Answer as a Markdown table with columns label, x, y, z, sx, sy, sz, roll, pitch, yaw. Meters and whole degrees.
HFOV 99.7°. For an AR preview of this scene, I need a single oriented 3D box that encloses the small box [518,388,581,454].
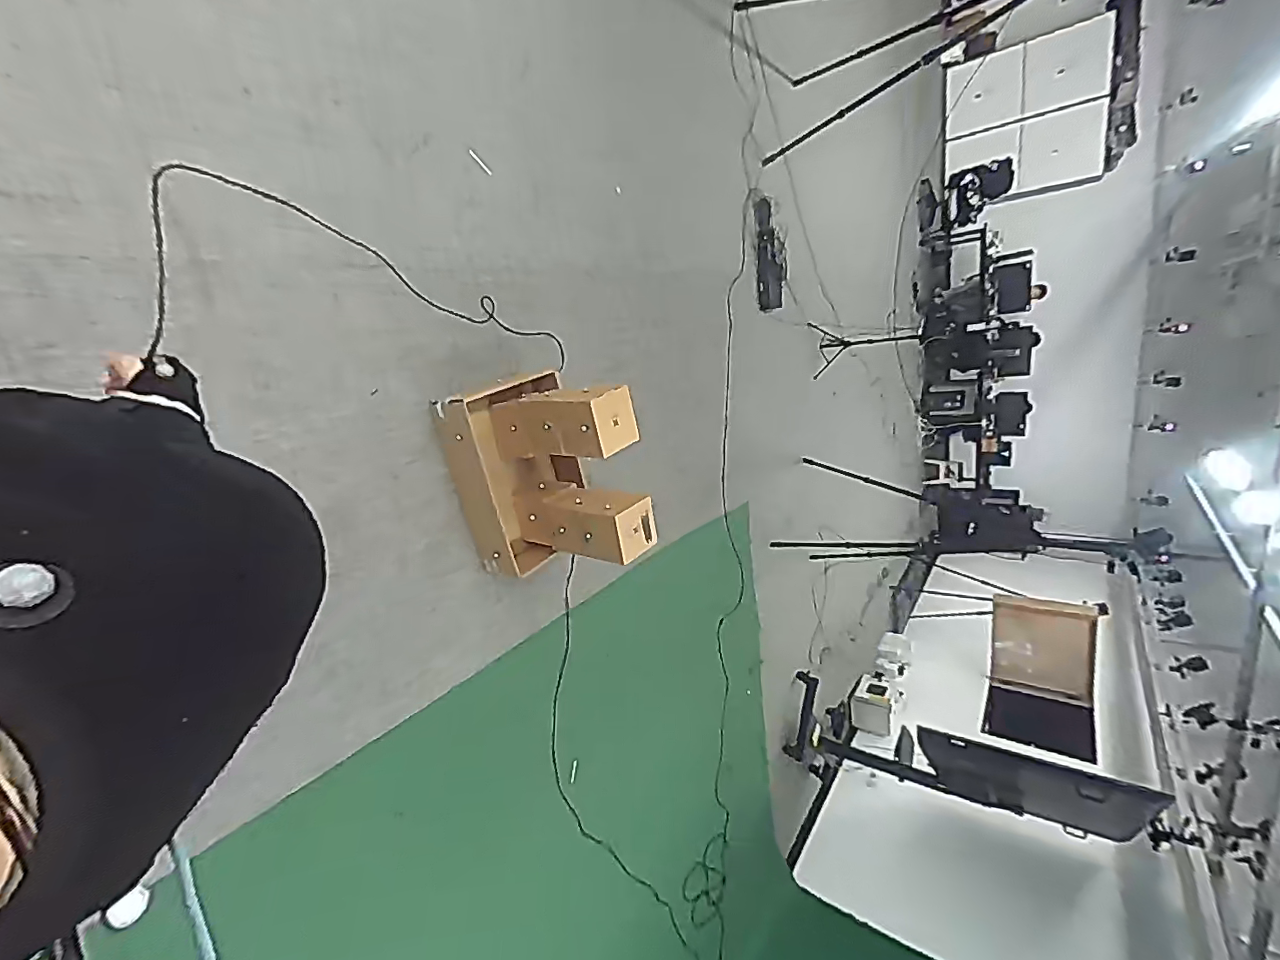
| label | x | y | z | sx | sy | sz | roll | pitch | yaw |
| --- | --- | --- | --- | --- | --- | --- | --- | --- | --- |
| small box | -0.264 | -0.187 | 1.715 | 0.168 | 0.176 | 0.179 | -28 | 115 | -46 |

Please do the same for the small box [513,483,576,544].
| label | x | y | z | sx | sy | sz | roll | pitch | yaw |
| --- | --- | --- | --- | --- | --- | --- | --- | --- | --- |
| small box | -0.327 | 0.115 | 1.924 | 0.168 | 0.176 | 0.179 | -29 | 114 | -47 |

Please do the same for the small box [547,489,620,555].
| label | x | y | z | sx | sy | sz | roll | pitch | yaw |
| --- | --- | --- | --- | --- | --- | --- | --- | --- | --- |
| small box | -0.197 | 0.138 | 1.825 | 0.179 | 0.176 | 0.168 | -29 | 116 | -47 |

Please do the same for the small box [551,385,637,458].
| label | x | y | z | sx | sy | sz | roll | pitch | yaw |
| --- | --- | --- | --- | --- | --- | --- | --- | --- | --- |
| small box | -0.138 | -0.177 | 1.614 | 0.168 | 0.176 | 0.179 | -34 | 118 | -43 |
